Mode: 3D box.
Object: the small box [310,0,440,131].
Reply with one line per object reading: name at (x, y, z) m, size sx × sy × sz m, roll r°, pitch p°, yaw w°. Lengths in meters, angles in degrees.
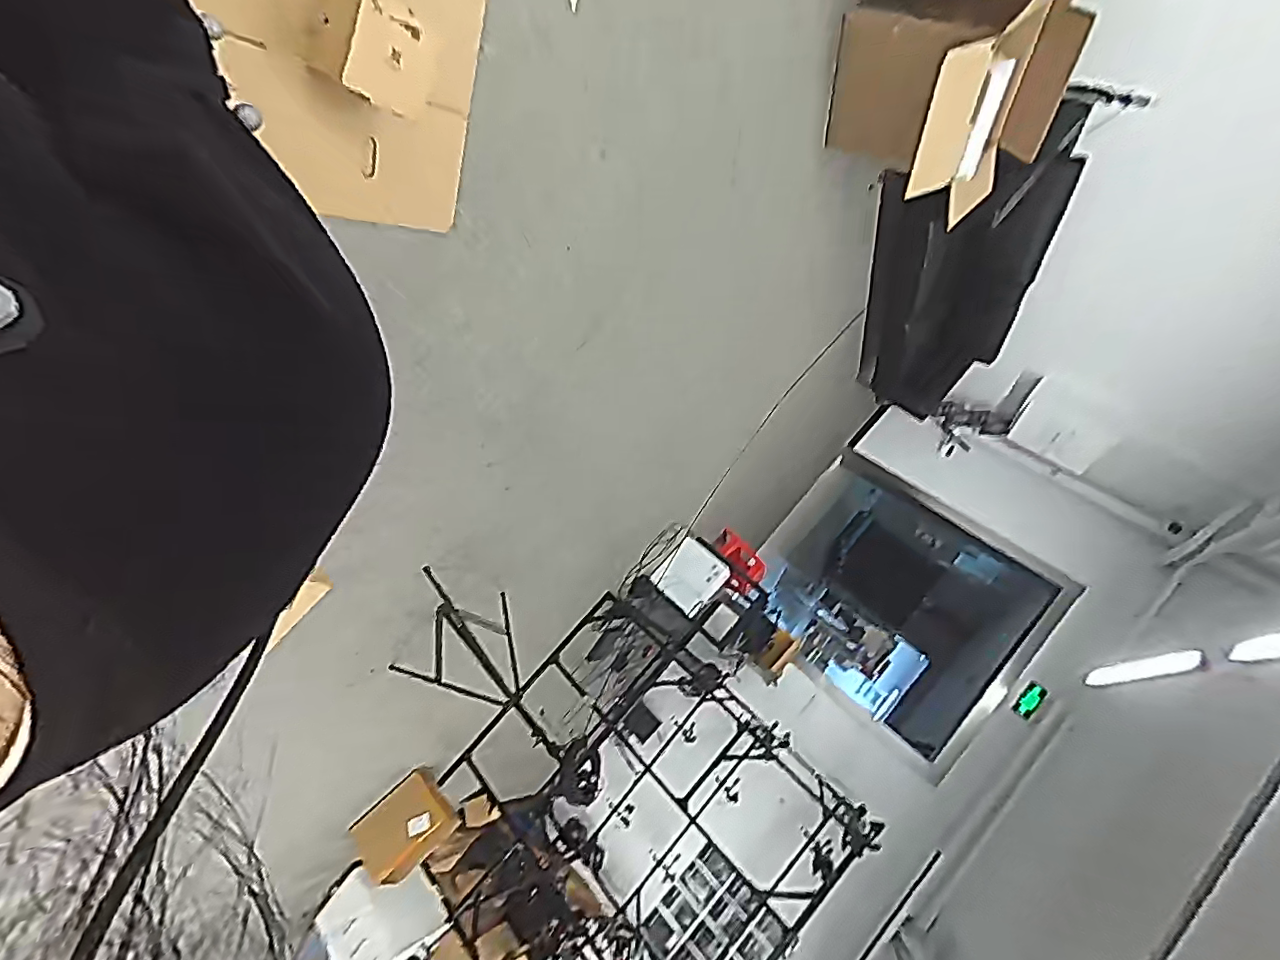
small box at (-0.553, -0.876, 1.119) m, size 0.168 × 0.176 × 0.179 m, roll -3°, pitch 129°, yaw -56°
